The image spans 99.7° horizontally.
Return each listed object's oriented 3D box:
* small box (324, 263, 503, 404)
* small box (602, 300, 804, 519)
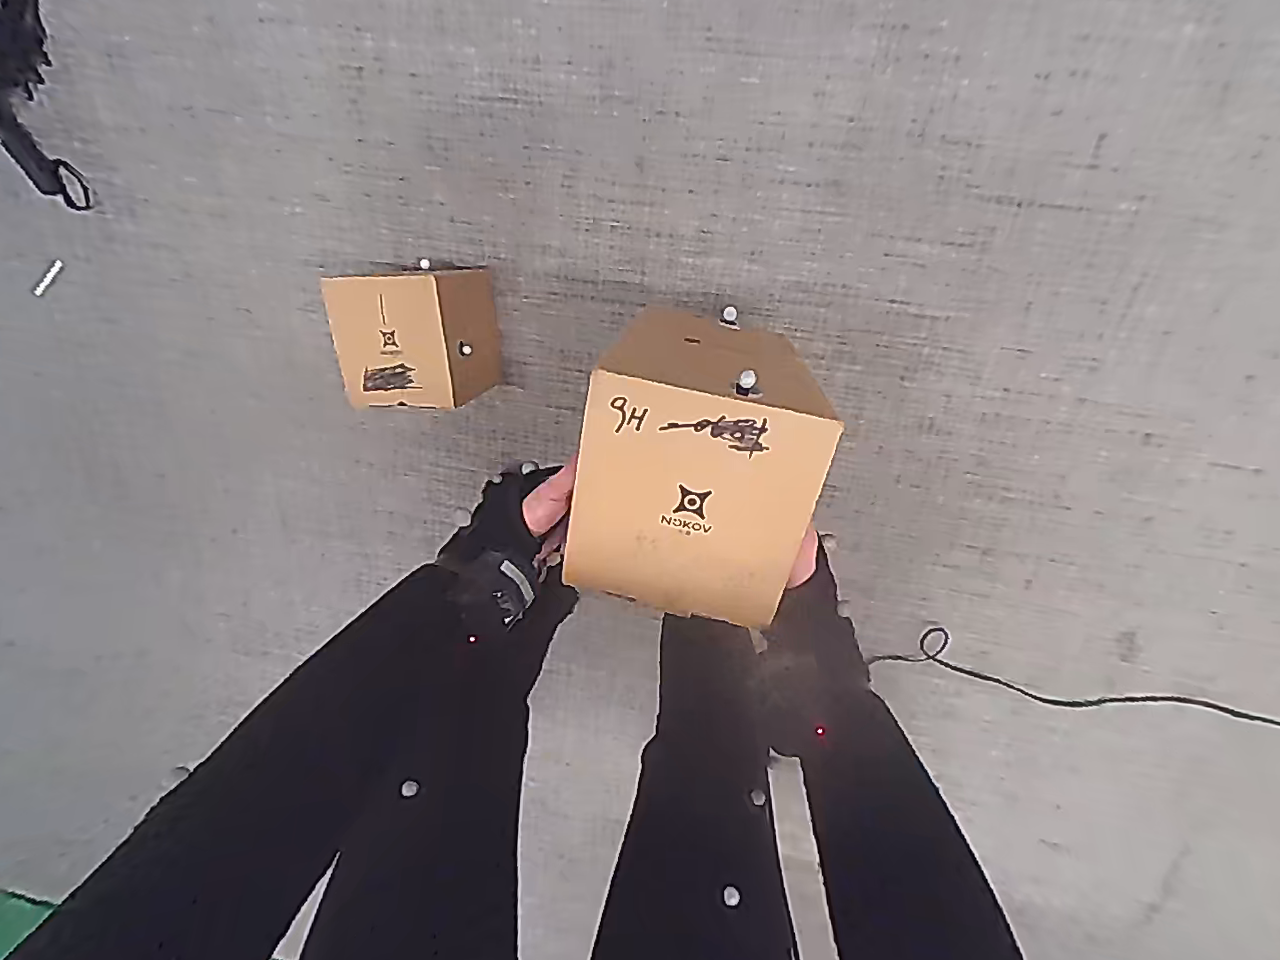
[{"bbox_3d":[-0.315,-0.220,0.794,0.168,0.176,0.179,3,114,10],"label":"small box"},{"bbox_3d":[0.065,-0.086,0.595,0.168,0.176,0.179,13,115,2],"label":"small box"}]
